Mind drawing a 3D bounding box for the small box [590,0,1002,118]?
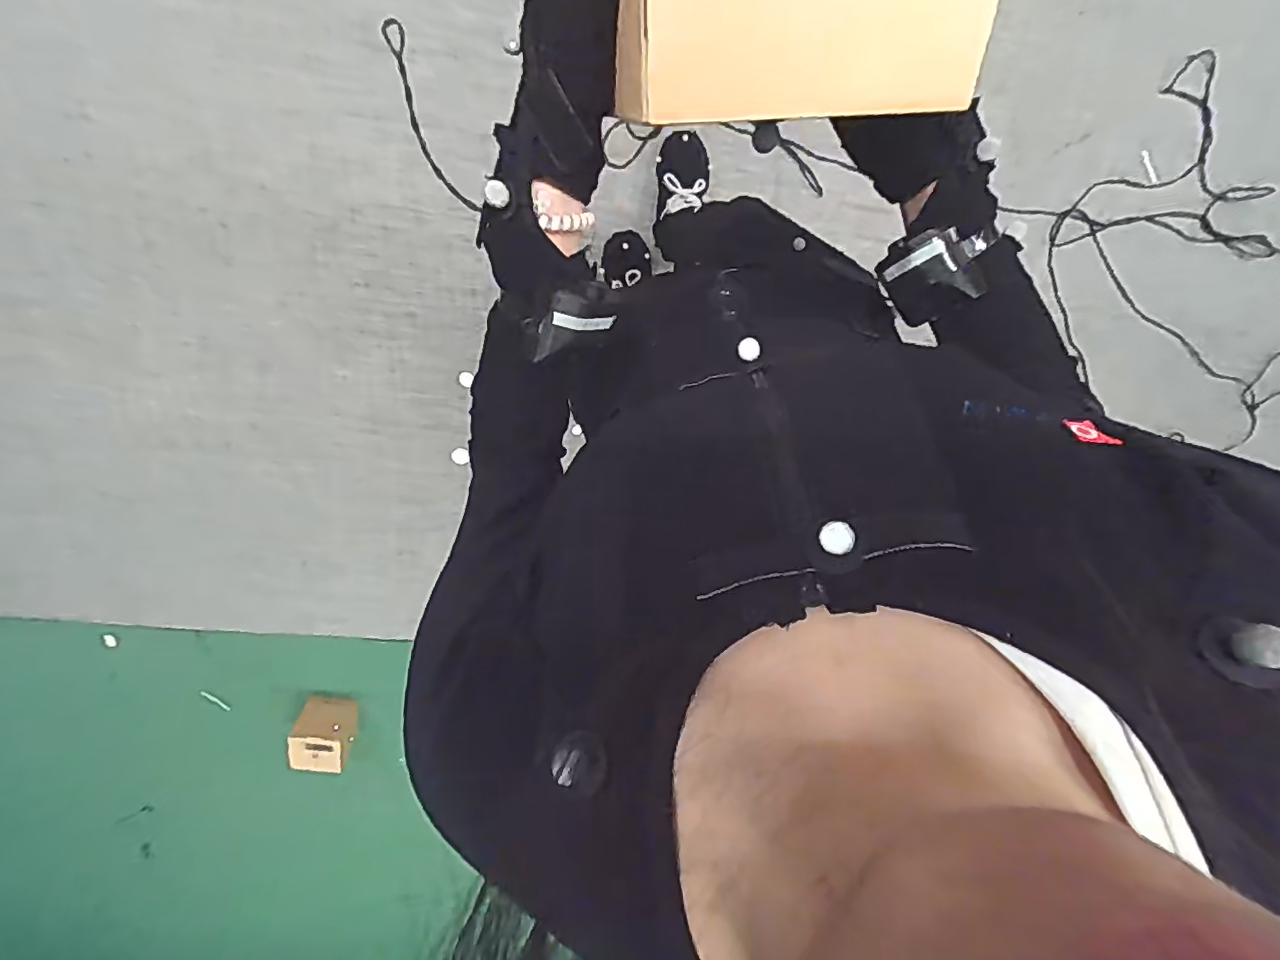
[{"bbox_3d":[0.069,-0.294,0.280,0.179,0.176,0.168,-8,127,-8],"label":"small box"}]
